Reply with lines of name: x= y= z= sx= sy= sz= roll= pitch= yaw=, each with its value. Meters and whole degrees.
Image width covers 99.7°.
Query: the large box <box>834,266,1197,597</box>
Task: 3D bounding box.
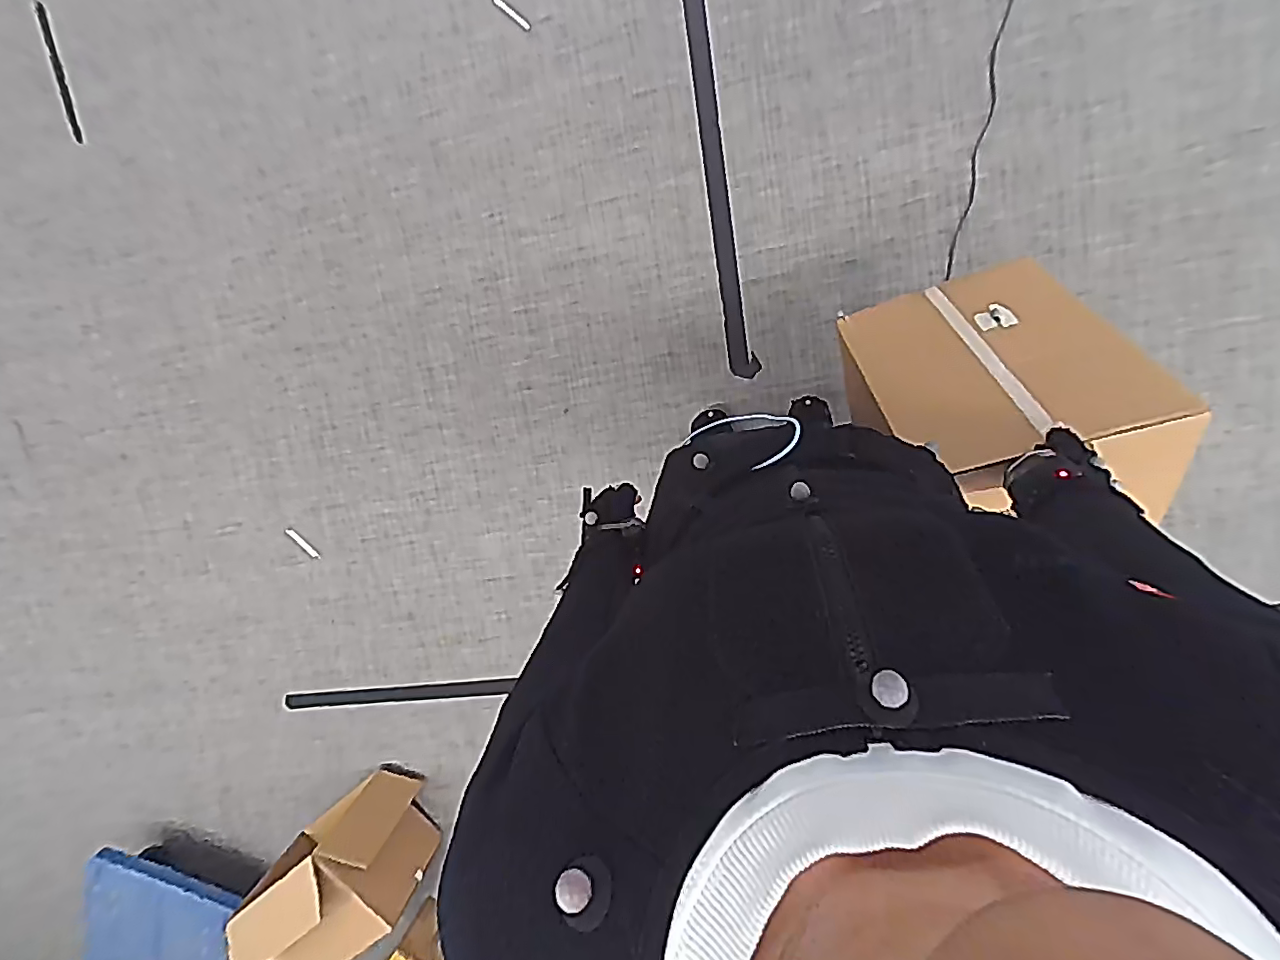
large box: x=0.552 y=-0.081 z=0.895 sx=0.320 sy=0.408 sz=0.320 roll=-16 pitch=133 yaw=13
